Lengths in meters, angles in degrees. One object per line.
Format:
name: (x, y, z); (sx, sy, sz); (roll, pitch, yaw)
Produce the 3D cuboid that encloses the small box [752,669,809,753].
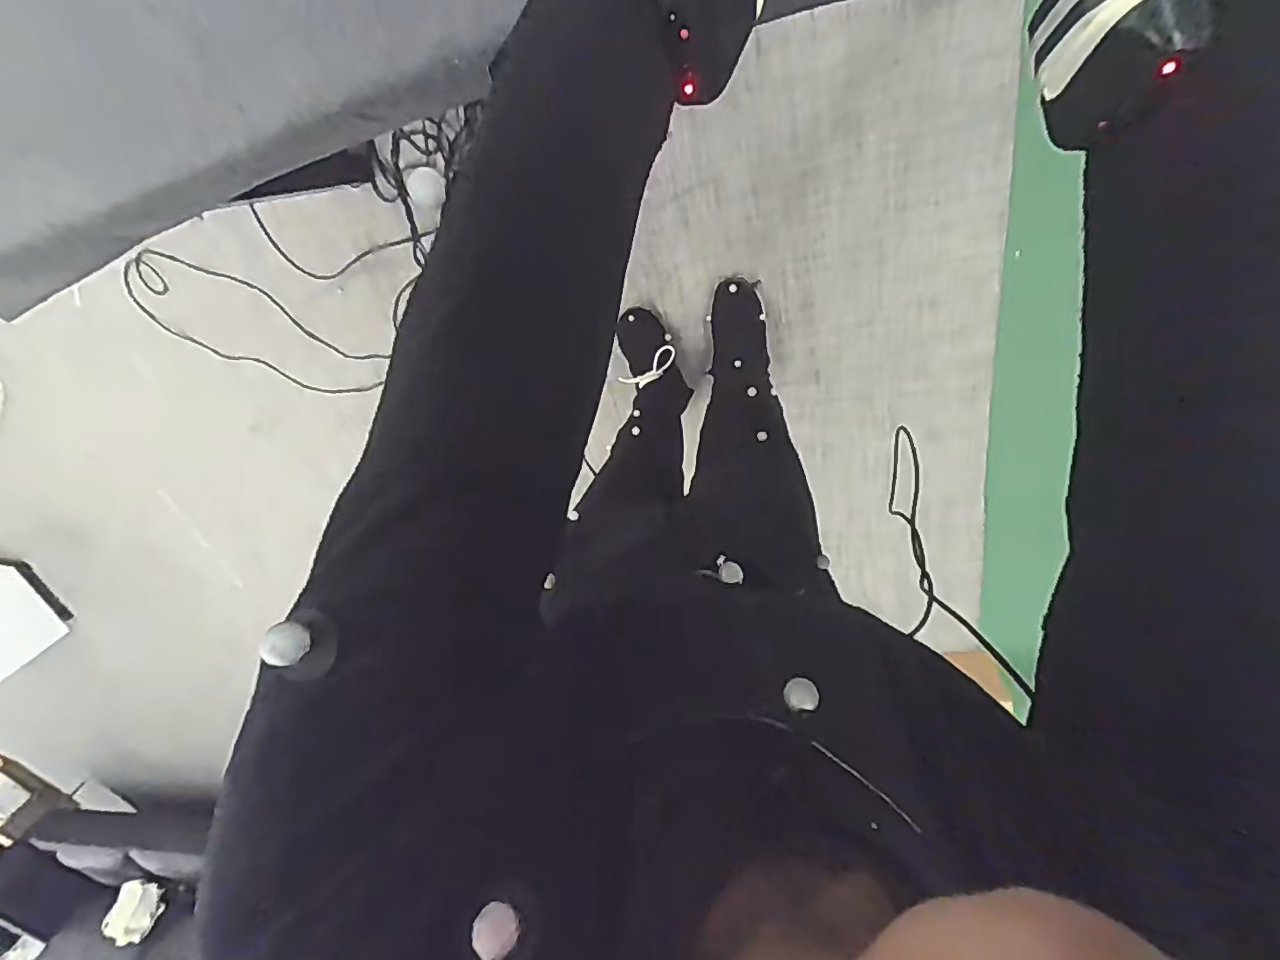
small box: (0.447, 0.729, 1.711); (0.168, 0.176, 0.179); (-3, 120, 15)
